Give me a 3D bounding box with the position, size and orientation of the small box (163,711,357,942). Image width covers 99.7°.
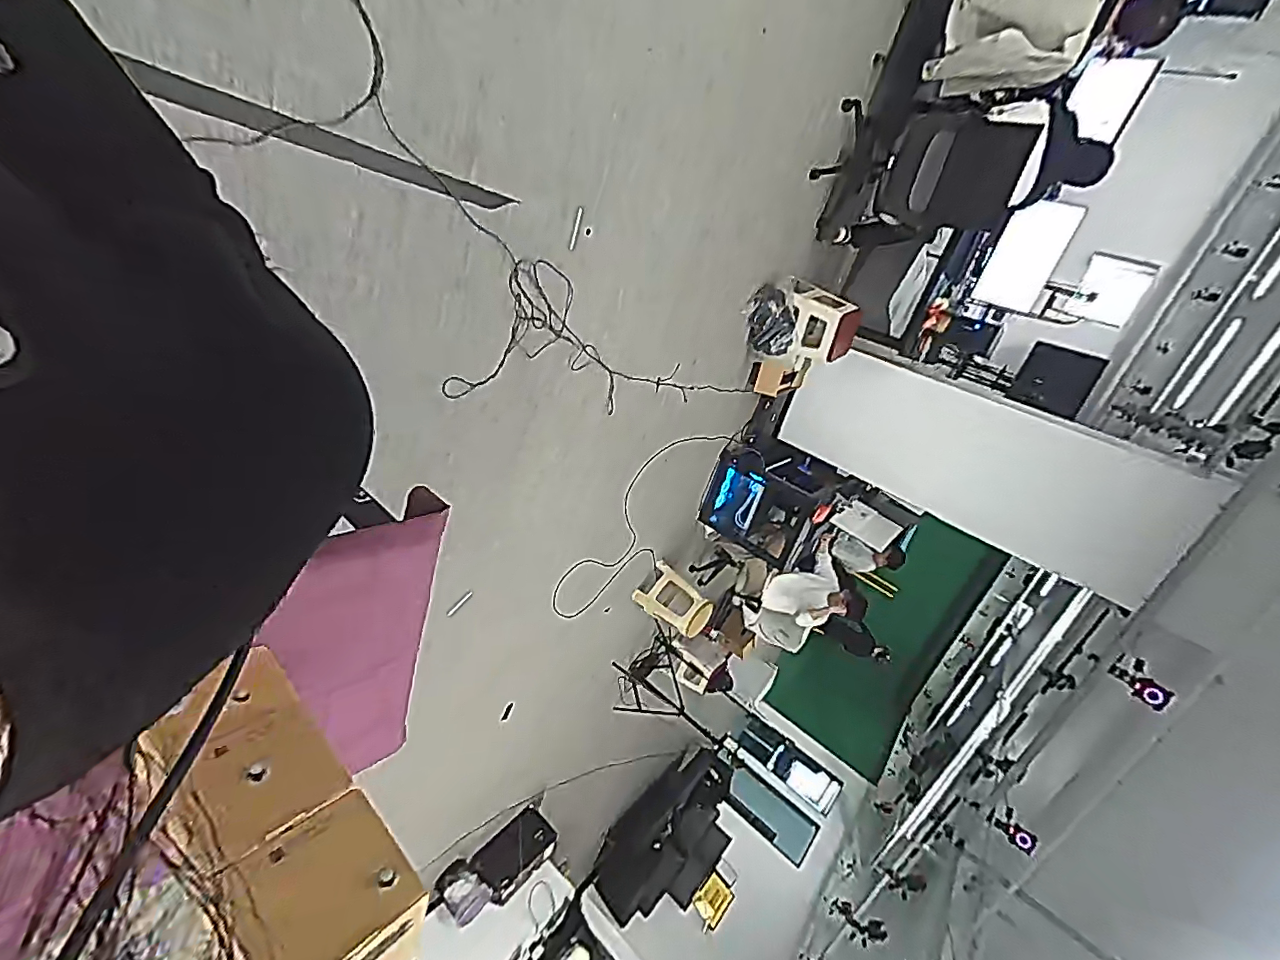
[{"bbox_3d":[-0.506,0.445,0.730,0.168,0.176,0.179,-20,133,-49],"label":"small box"}]

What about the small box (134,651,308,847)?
[{"bbox_3d":[-0.633,0.388,0.819,0.168,0.176,0.179,-15,130,-52],"label":"small box"}]
